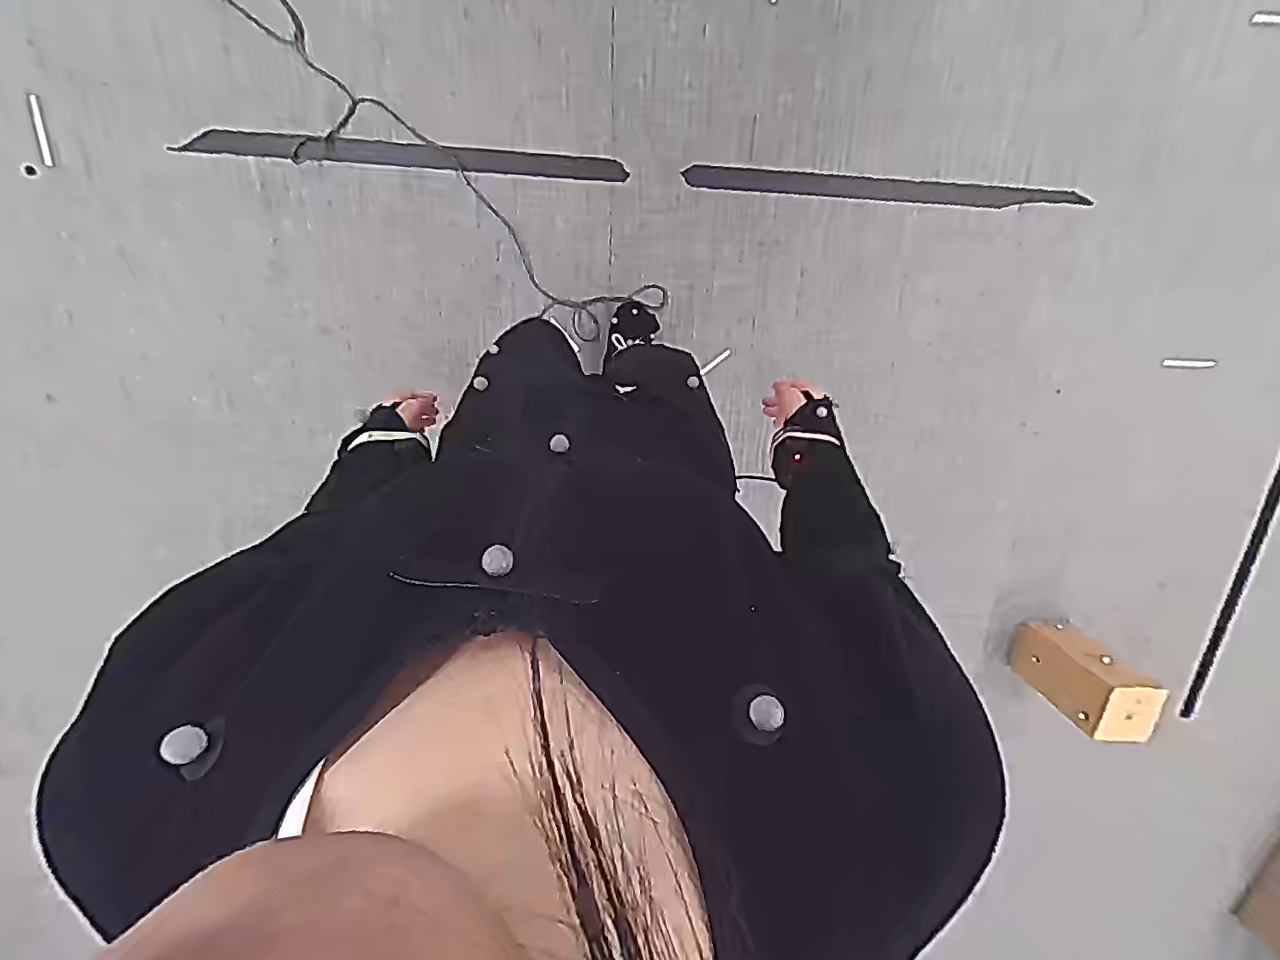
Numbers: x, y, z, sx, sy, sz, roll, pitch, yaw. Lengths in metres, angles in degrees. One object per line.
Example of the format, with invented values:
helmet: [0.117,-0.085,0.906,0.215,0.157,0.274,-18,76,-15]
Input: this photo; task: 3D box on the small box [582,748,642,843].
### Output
small box: [-0.082,0.896,1.553,0.168,0.176,0.179,-2,108,-3]

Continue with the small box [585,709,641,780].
small box: [-0.087,0.847,1.711,0.168,0.176,0.179,-3,109,-2]

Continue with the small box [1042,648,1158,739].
small box: [1.311,0.612,1.557,0.168,0.176,0.179,4,106,-6]
